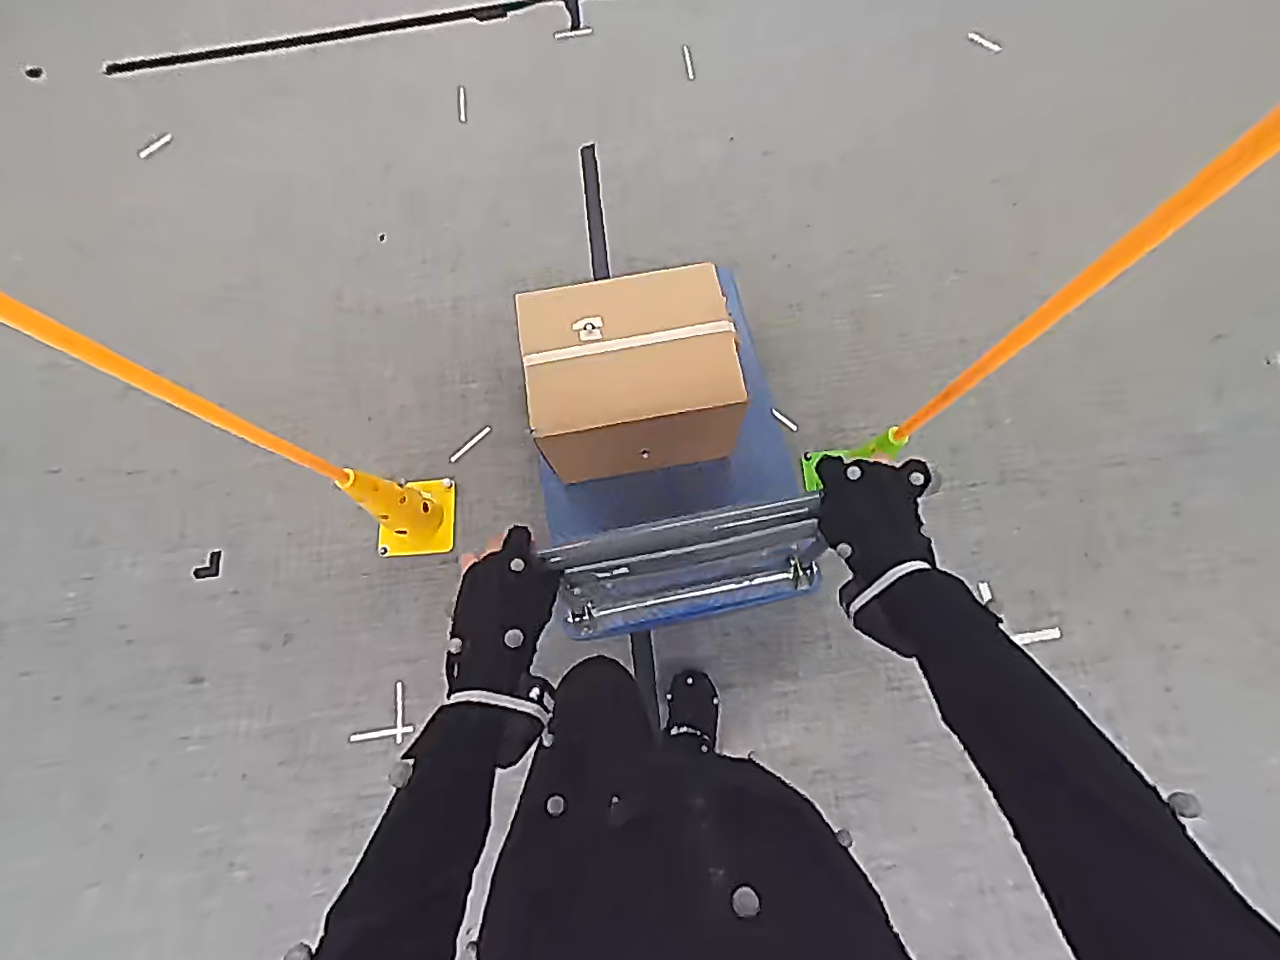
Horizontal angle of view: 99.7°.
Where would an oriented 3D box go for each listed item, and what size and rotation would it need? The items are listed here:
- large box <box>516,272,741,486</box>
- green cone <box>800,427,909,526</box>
[{"bbox_3d":[-0.021,-0.201,1.192,0.408,0.320,0.320,-10,73,1],"label":"large box"},{"bbox_3d":[0.526,-0.031,1.262,0.202,0.368,0.200,-4,73,1],"label":"green cone"}]
